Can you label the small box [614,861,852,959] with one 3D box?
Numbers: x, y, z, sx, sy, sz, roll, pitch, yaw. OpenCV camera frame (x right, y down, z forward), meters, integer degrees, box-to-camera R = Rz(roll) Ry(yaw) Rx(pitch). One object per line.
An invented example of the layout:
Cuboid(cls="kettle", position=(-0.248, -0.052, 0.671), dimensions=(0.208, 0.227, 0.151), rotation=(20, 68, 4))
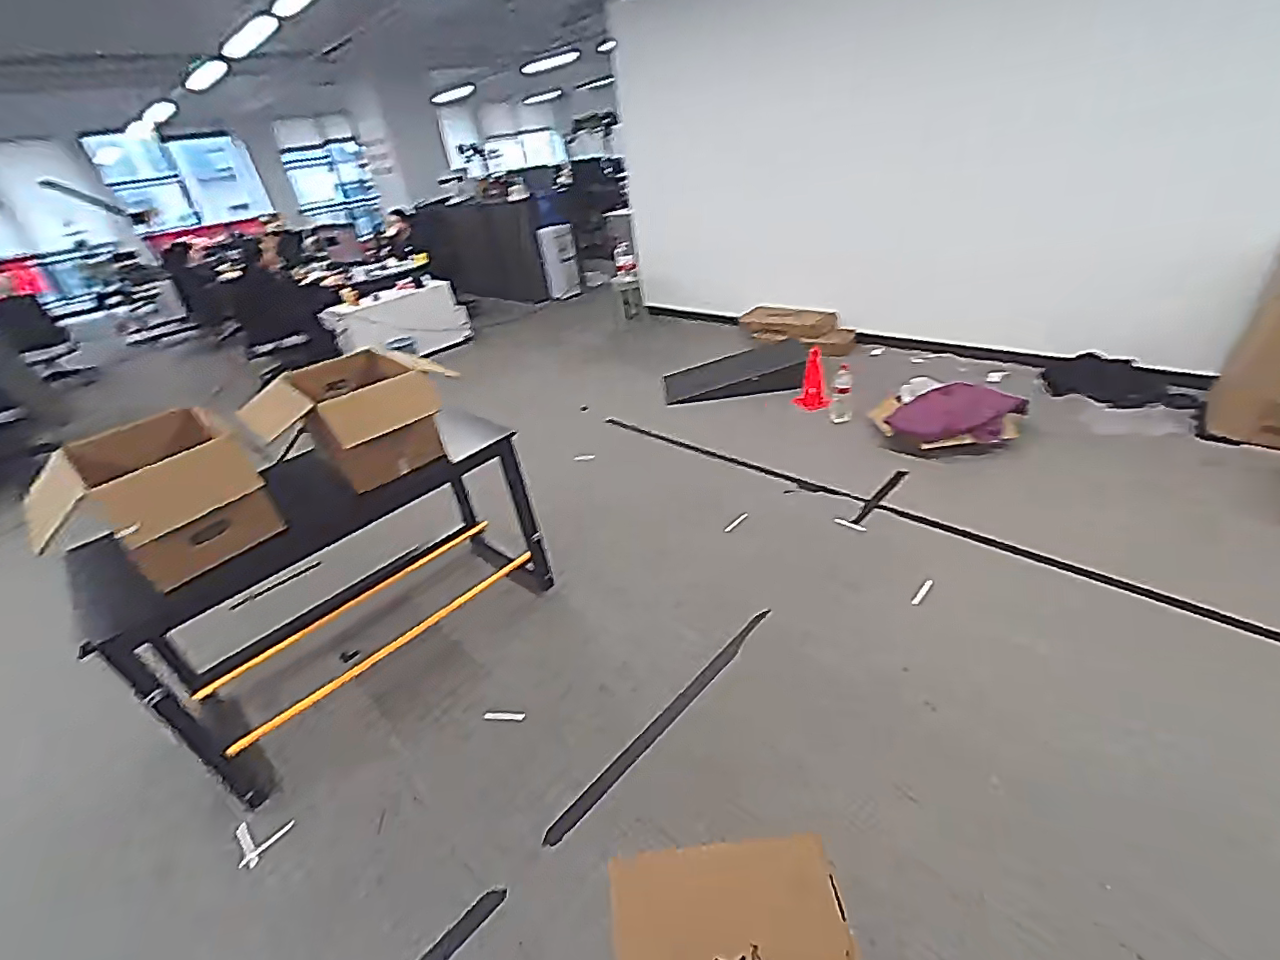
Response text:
Cuboid(cls="small box", position=(0.076, 0.435, 0.434), dimensions=(0.179, 0.176, 0.168), rotation=(-7, 41, -4))
